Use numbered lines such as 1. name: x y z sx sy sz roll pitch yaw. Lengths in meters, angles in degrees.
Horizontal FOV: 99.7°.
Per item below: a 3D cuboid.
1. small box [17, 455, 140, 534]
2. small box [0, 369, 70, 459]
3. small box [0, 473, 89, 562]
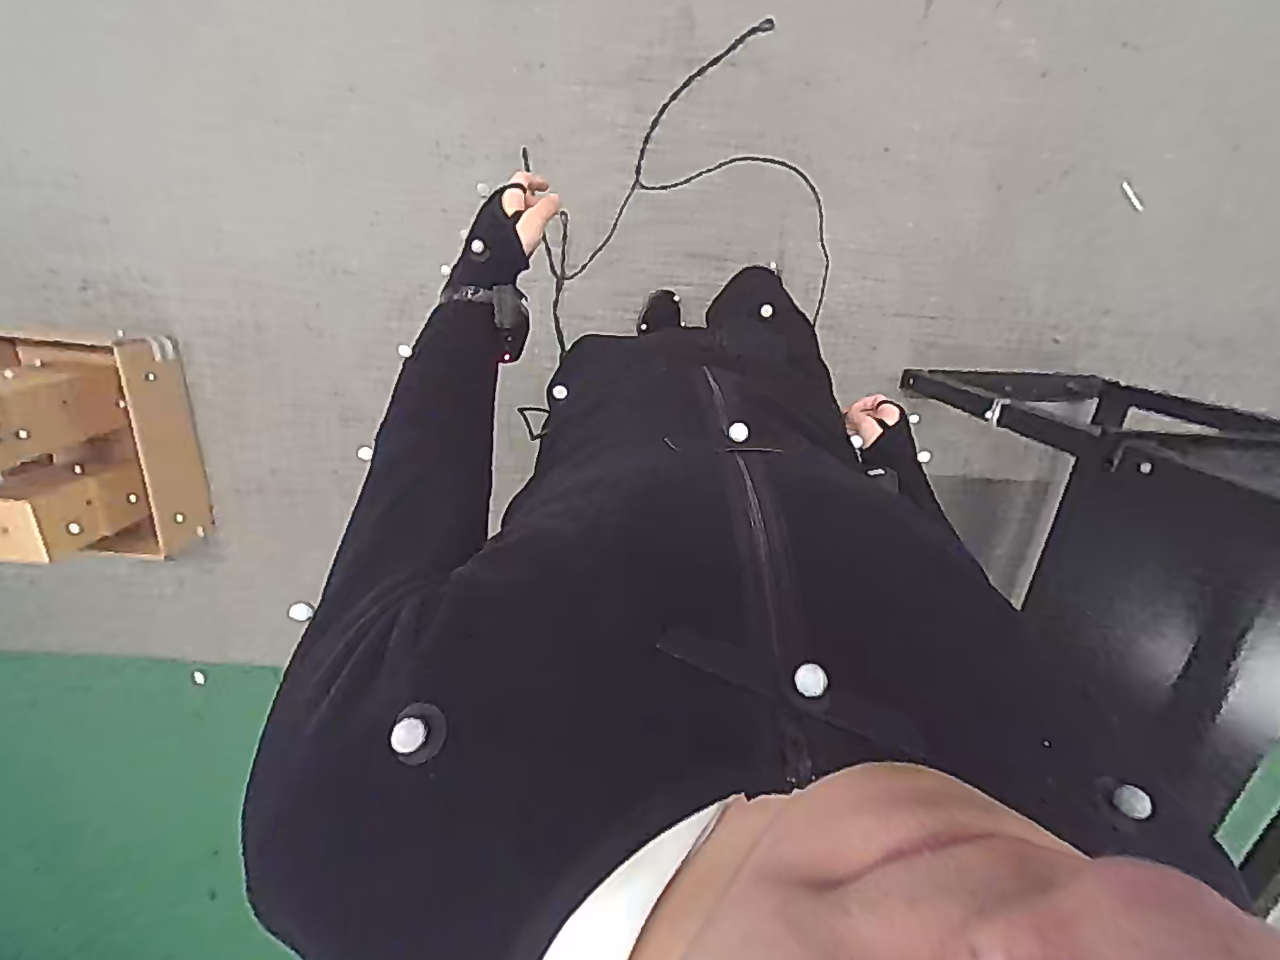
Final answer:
1. small box: -1.546 0.037 1.500 0.179 0.176 0.168 5 109 -3
2. small box: -1.511 -0.158 1.256 0.179 0.176 0.168 5 112 -3
3. small box: -1.541 0.088 1.347 0.179 0.176 0.168 4 110 -2
